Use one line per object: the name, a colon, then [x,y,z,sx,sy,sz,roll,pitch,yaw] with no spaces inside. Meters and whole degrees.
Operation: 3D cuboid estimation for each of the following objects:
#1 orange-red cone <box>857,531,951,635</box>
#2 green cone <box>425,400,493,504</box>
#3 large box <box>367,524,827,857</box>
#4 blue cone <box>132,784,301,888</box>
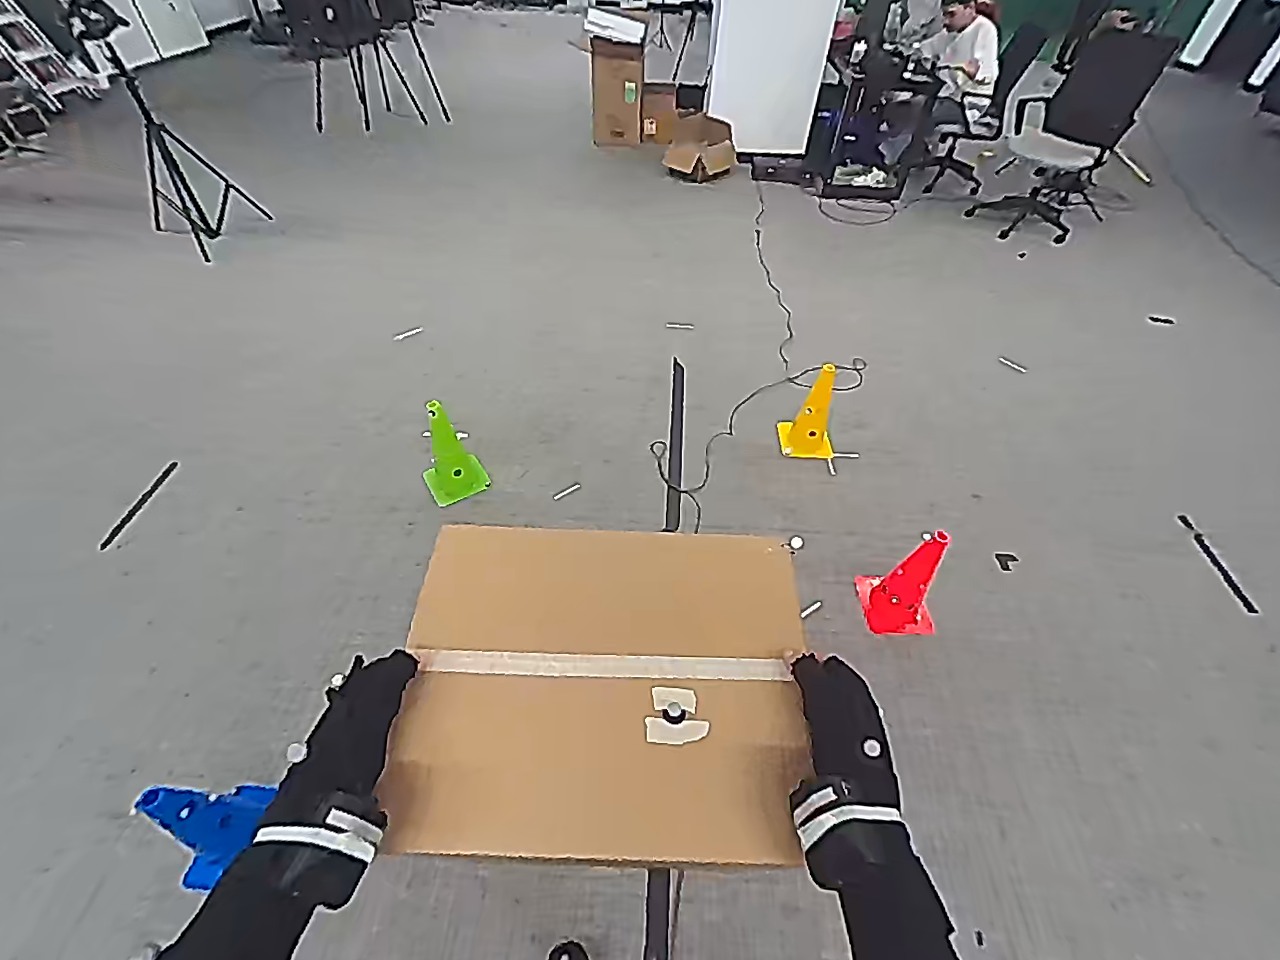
orange-red cone: [0.791,0.267,1.550,0.198,0.360,0.199,3,46,-1]
green cone: [-0.663,-0.126,1.855,0.202,0.368,0.200,-26,53,-22]
large box: [-0.039,0.269,0.666,0.408,0.320,0.320,3,54,0]
blue cone: [-0.889,0.695,1.110,0.192,0.380,0.193,5,47,4]
